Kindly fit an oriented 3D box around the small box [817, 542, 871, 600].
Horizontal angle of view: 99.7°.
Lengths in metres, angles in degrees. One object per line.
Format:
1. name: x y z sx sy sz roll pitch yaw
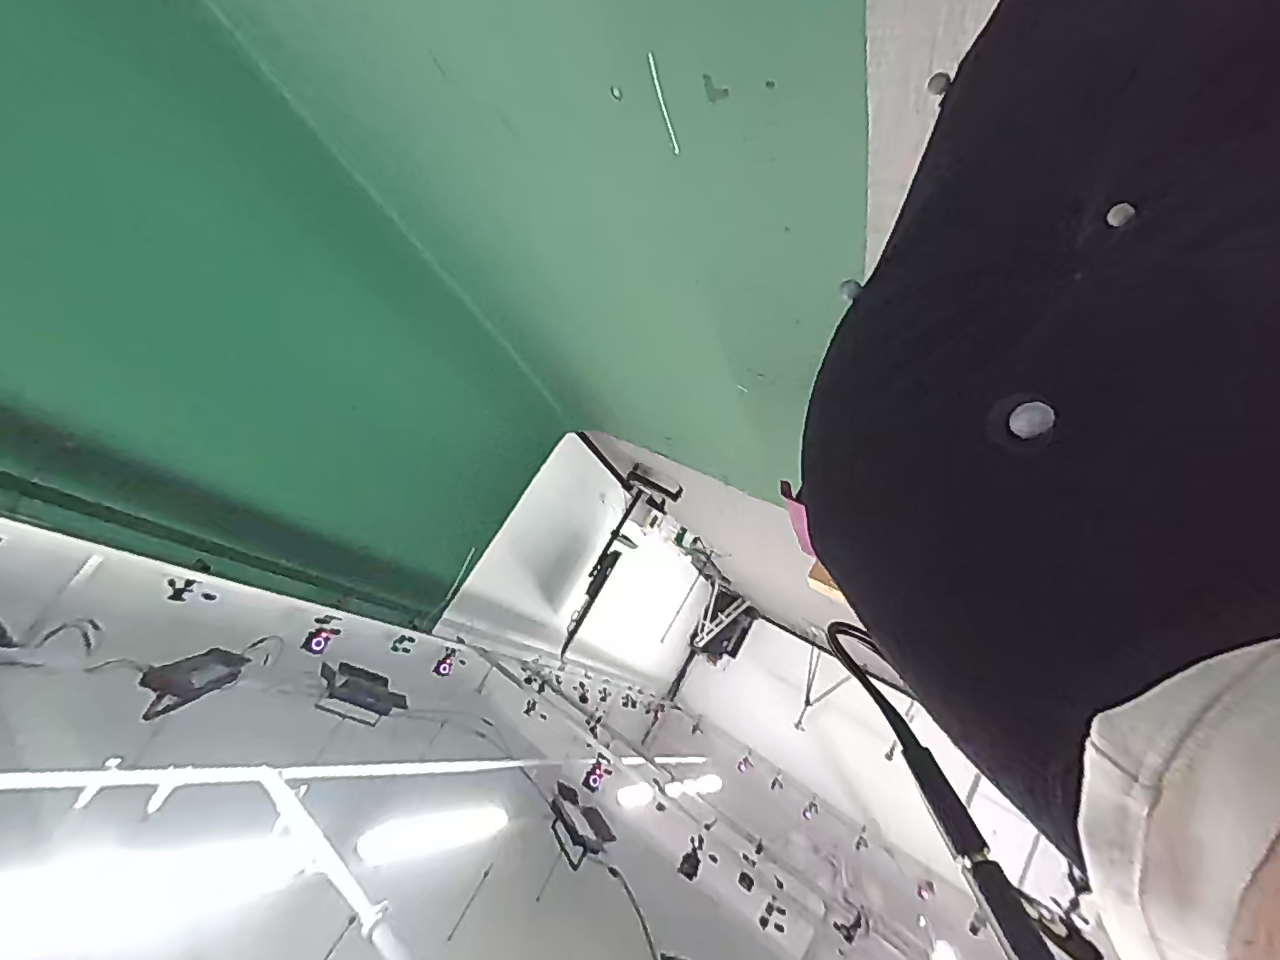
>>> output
1. small box: 0.894 0.398 2.361 0.168 0.176 0.179 23 166 30
